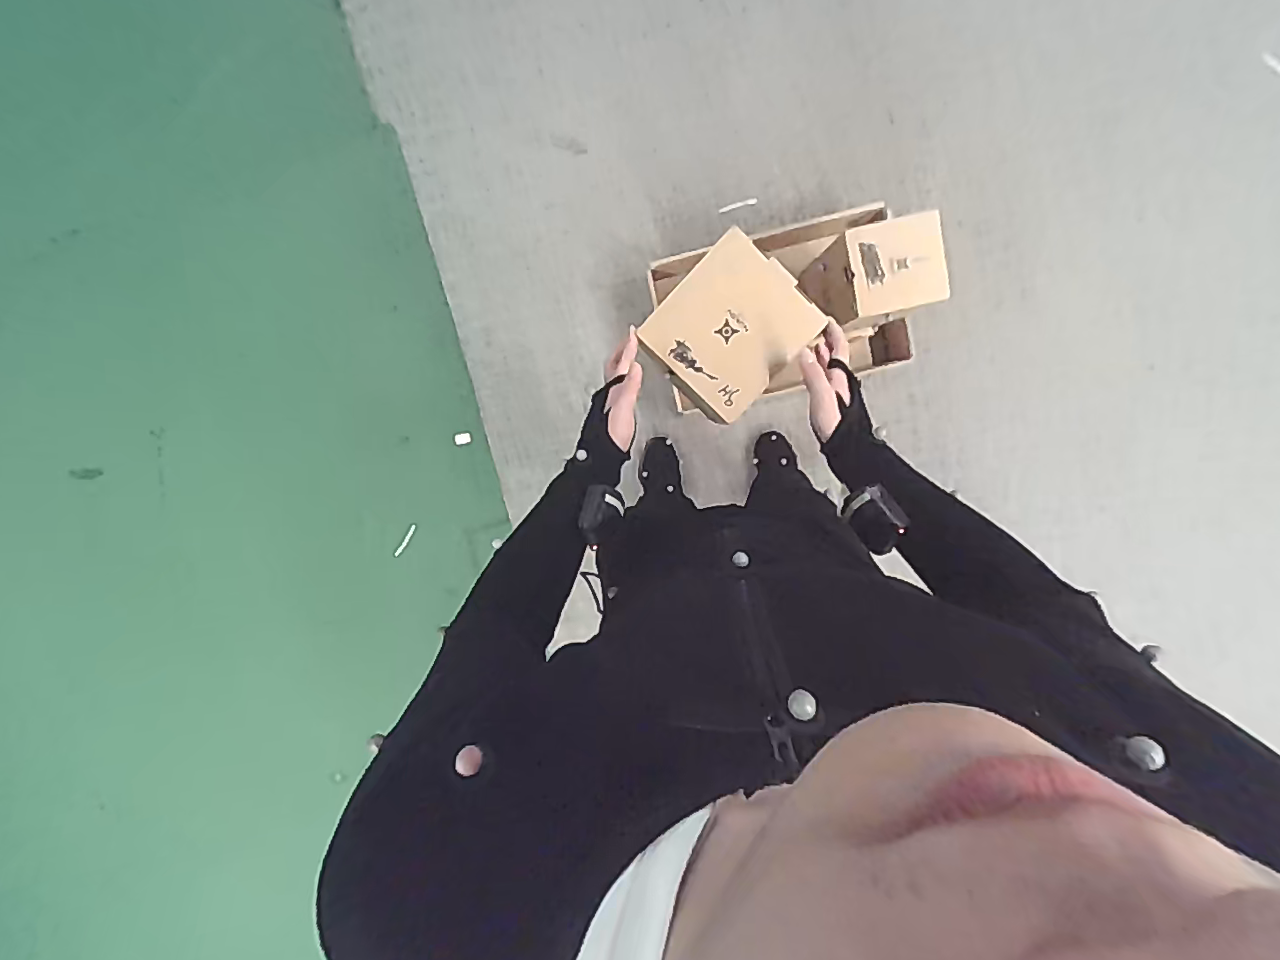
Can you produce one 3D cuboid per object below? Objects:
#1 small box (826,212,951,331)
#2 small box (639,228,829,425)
[{"bbox_3d":[0.484,-0.405,1.083,0.179,0.176,0.168,-11,97,4],"label":"small box"},{"bbox_3d":[0.112,-0.193,0.730,0.168,0.176,0.179,43,95,-4],"label":"small box"}]
